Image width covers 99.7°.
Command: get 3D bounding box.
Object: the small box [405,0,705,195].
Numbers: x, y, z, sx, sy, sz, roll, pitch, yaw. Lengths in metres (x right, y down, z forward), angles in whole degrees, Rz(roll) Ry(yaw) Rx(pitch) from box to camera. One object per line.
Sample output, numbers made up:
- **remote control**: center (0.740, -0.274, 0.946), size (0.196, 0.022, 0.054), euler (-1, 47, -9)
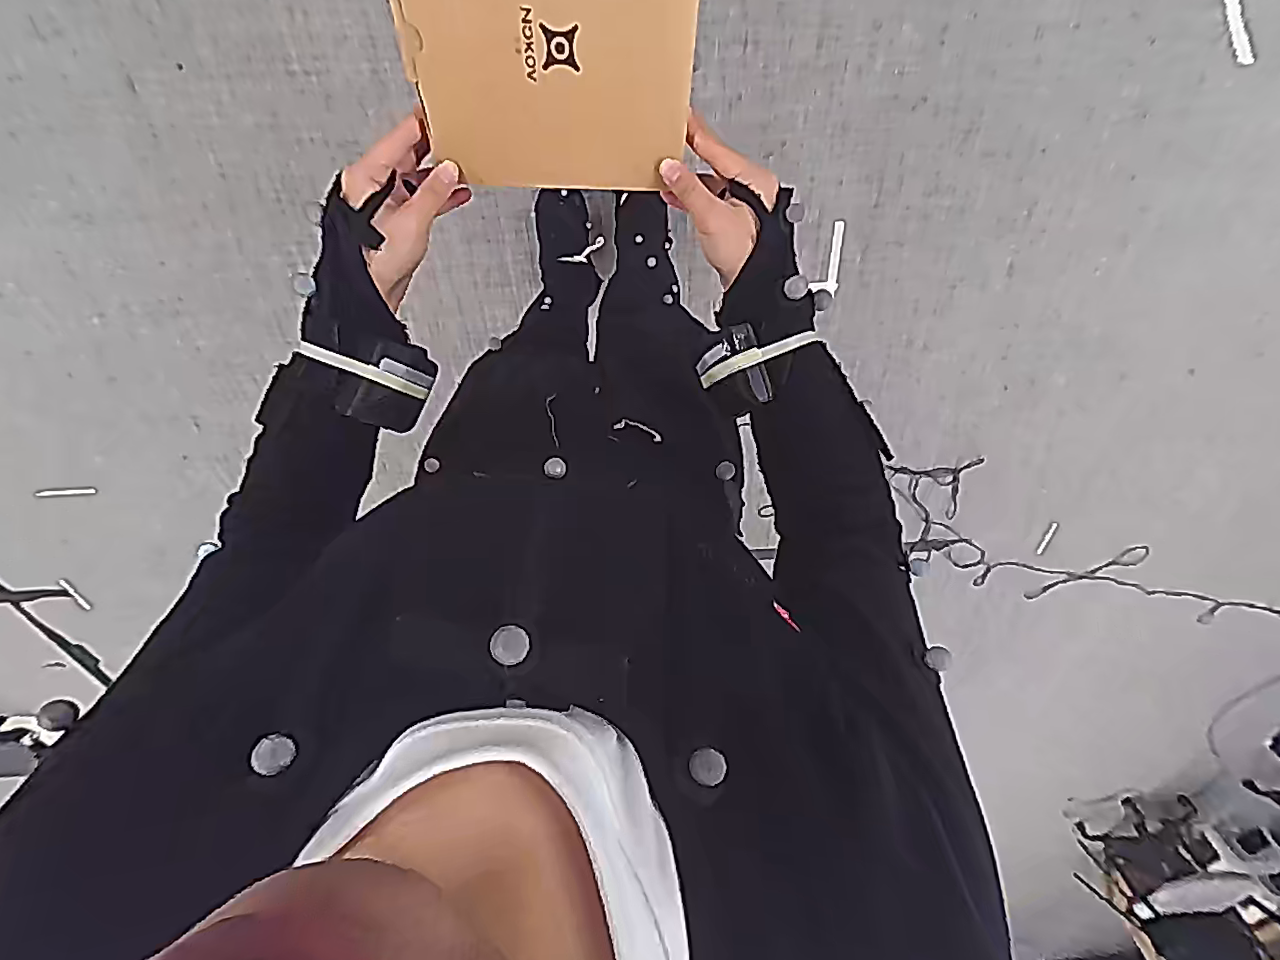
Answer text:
- **small box**: center (-0.054, -0.325, 0.381), size (0.179, 0.176, 0.168), euler (0, 142, -4)
